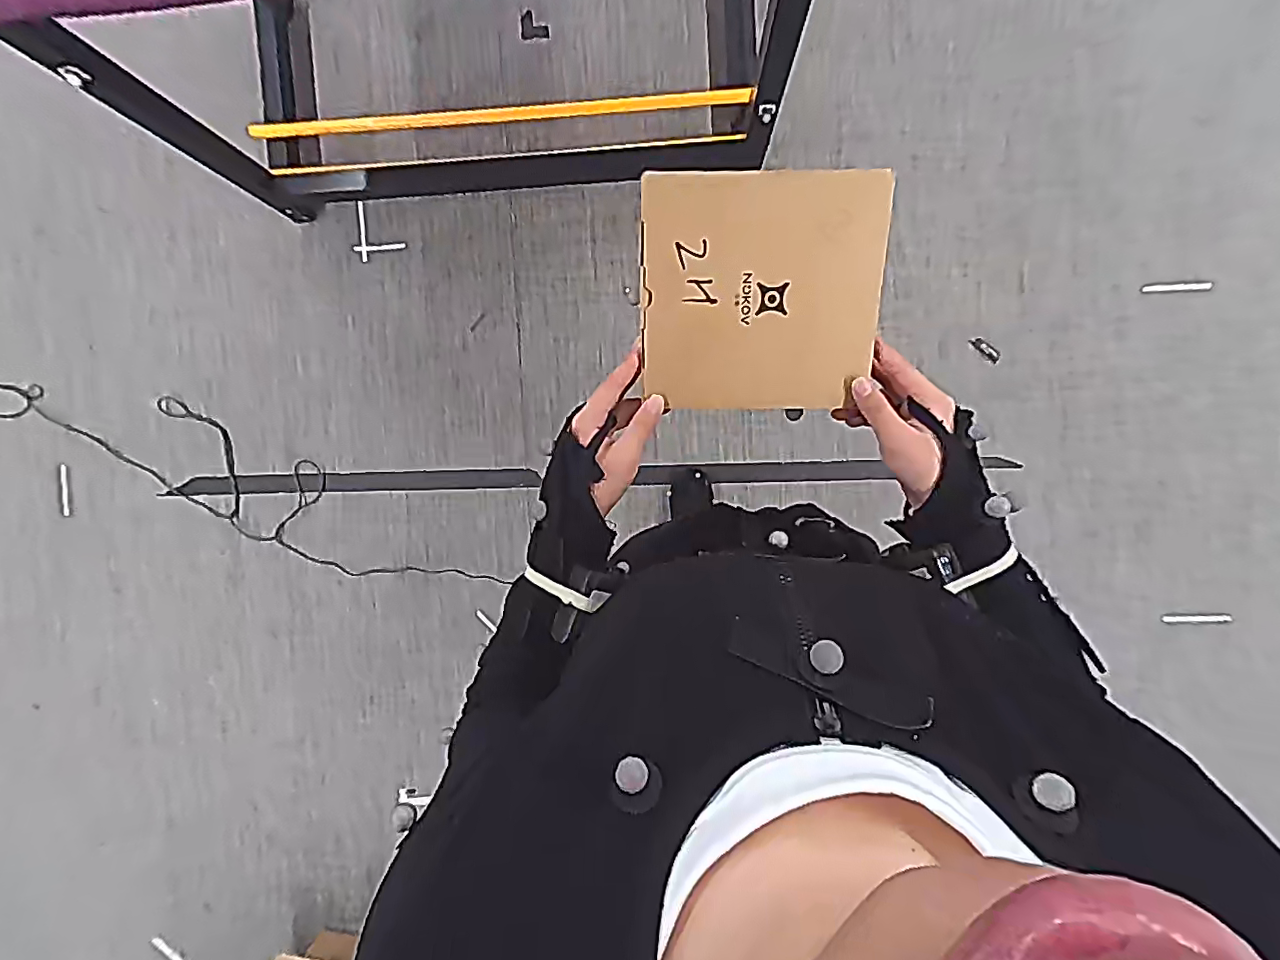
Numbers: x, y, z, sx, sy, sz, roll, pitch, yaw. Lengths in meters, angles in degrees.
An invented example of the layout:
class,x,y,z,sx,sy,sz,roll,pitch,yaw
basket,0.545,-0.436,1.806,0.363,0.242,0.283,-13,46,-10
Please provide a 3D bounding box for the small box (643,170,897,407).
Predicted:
class,x,y,z,sx,sy,sz,roll,pitch,yaw
small box,0.091,-0.161,0.473,0.179,0.176,0.168,1,109,2
